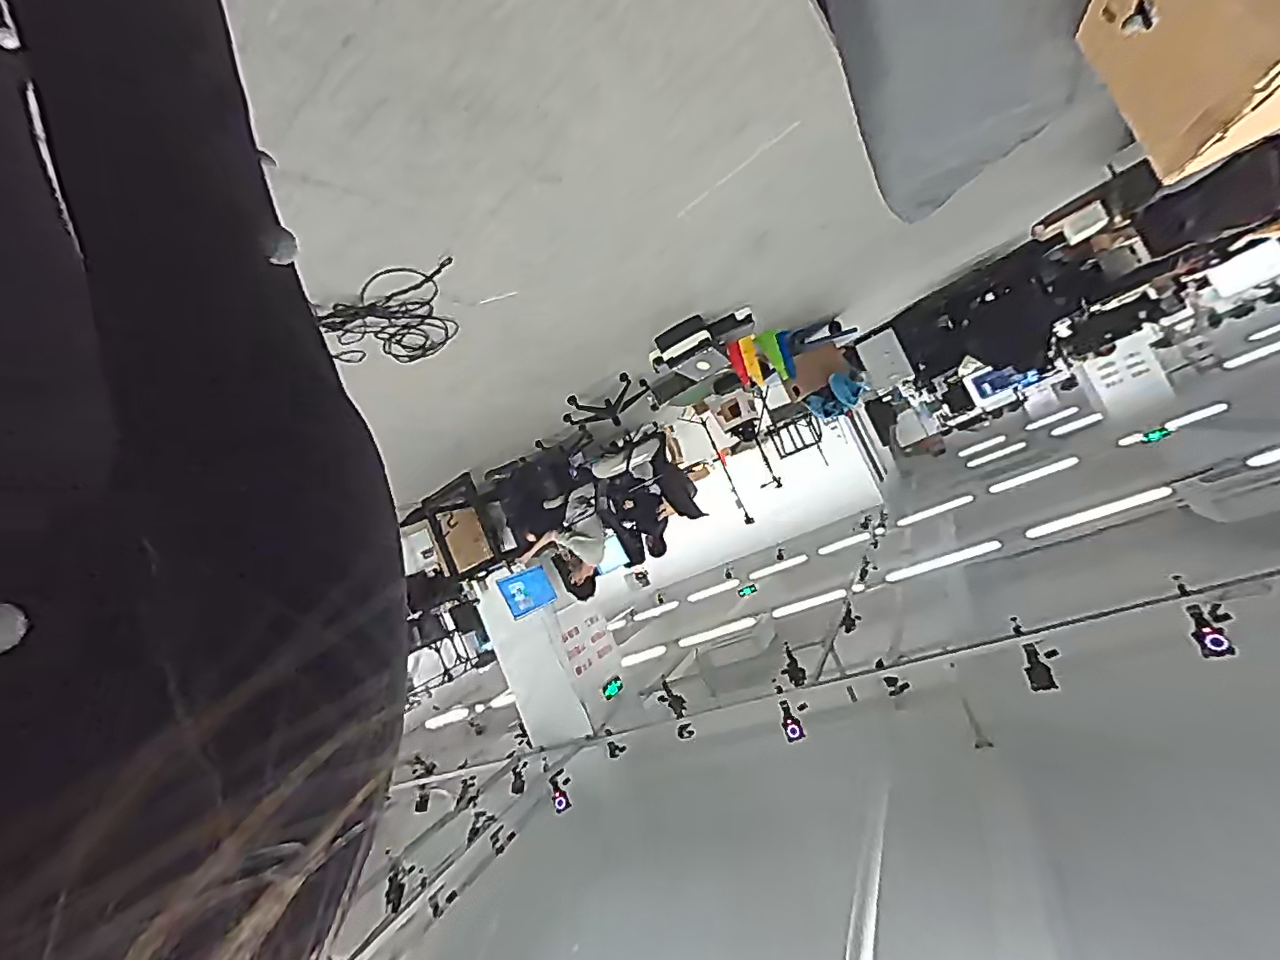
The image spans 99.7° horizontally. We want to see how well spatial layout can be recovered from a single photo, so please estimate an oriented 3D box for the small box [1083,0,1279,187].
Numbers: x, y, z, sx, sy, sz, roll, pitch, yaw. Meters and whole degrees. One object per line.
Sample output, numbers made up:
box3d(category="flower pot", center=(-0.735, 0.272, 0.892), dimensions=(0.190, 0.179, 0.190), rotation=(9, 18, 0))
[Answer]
box3d(category="small box", center=(0.469, -0.360, 0.381), dimensions=(0.179, 0.176, 0.168), rotation=(-26, 175, 27))
